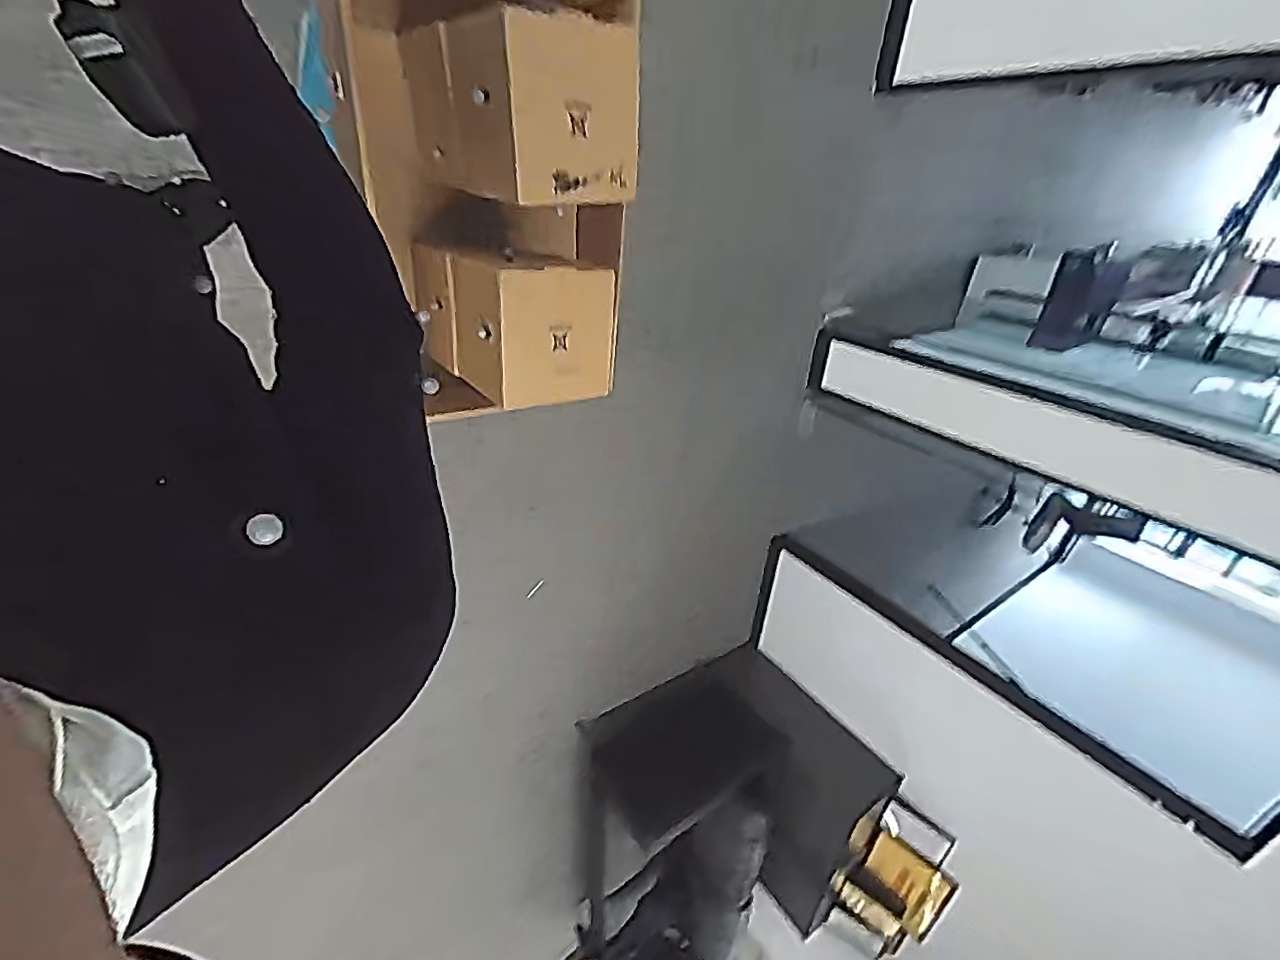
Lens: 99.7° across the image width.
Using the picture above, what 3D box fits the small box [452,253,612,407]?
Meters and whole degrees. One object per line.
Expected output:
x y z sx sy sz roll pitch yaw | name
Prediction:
-0.157 -0.219 0.767 0.168 0.176 0.179 -14 123 -34 | small box

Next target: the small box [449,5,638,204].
-0.119 -0.442 0.660 0.168 0.176 0.179 -19 128 -30 | small box
